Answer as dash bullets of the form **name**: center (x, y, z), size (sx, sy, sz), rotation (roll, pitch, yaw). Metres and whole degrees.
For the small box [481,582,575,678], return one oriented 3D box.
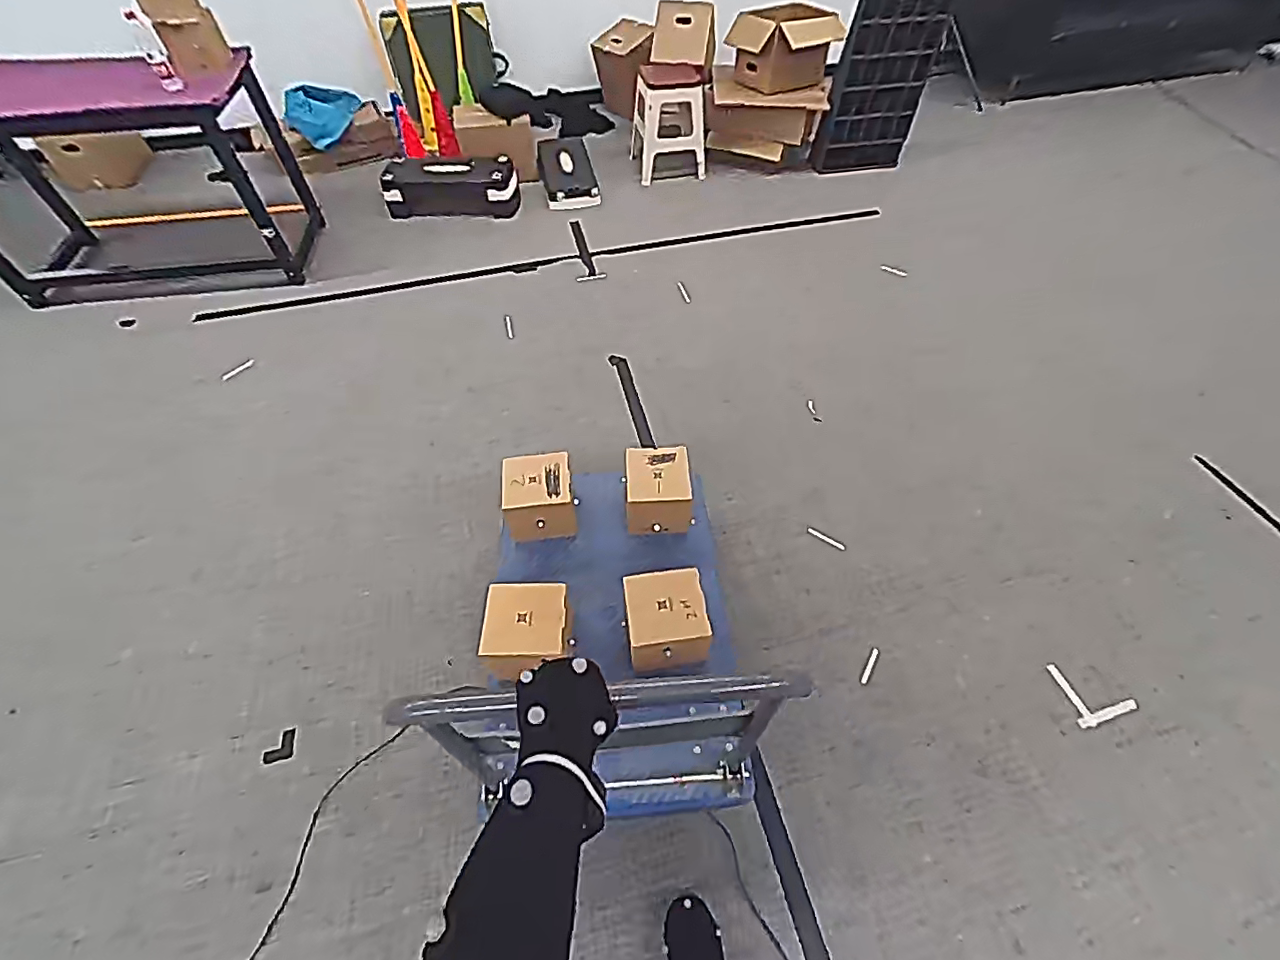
- **small box**: center (-0.247, 0.347, 1.237), size (0.179, 0.176, 0.168), rotation (0, 53, -2)

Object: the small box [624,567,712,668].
- **small box**: center (0.060, 0.322, 1.252), size (0.179, 0.176, 0.168), rotation (-6, 54, -4)

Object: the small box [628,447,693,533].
- **small box**: center (0.049, 0.029, 1.471), size (0.168, 0.176, 0.179), rotation (-2, 55, -1)
